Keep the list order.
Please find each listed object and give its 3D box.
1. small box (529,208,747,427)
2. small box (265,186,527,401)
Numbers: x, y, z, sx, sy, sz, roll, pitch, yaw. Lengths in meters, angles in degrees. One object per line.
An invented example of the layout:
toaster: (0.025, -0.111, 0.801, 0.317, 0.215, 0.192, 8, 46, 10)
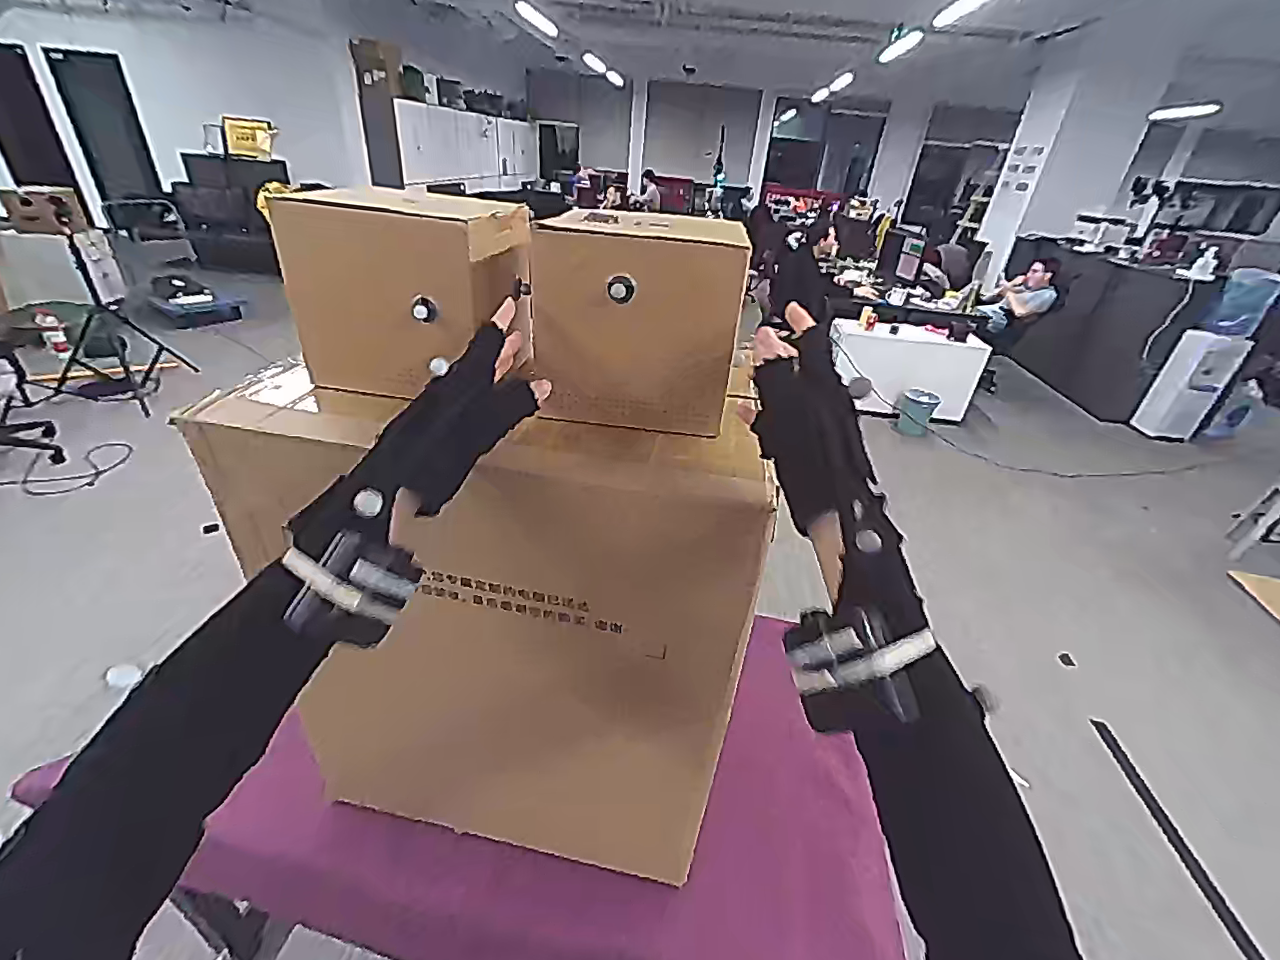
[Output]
small box: (0.001, -0.163, 0.529, 0.179, 0.176, 0.168, 7, 31, 3)
small box: (-0.220, -0.190, 0.545, 0.179, 0.176, 0.168, 7, 30, 3)
